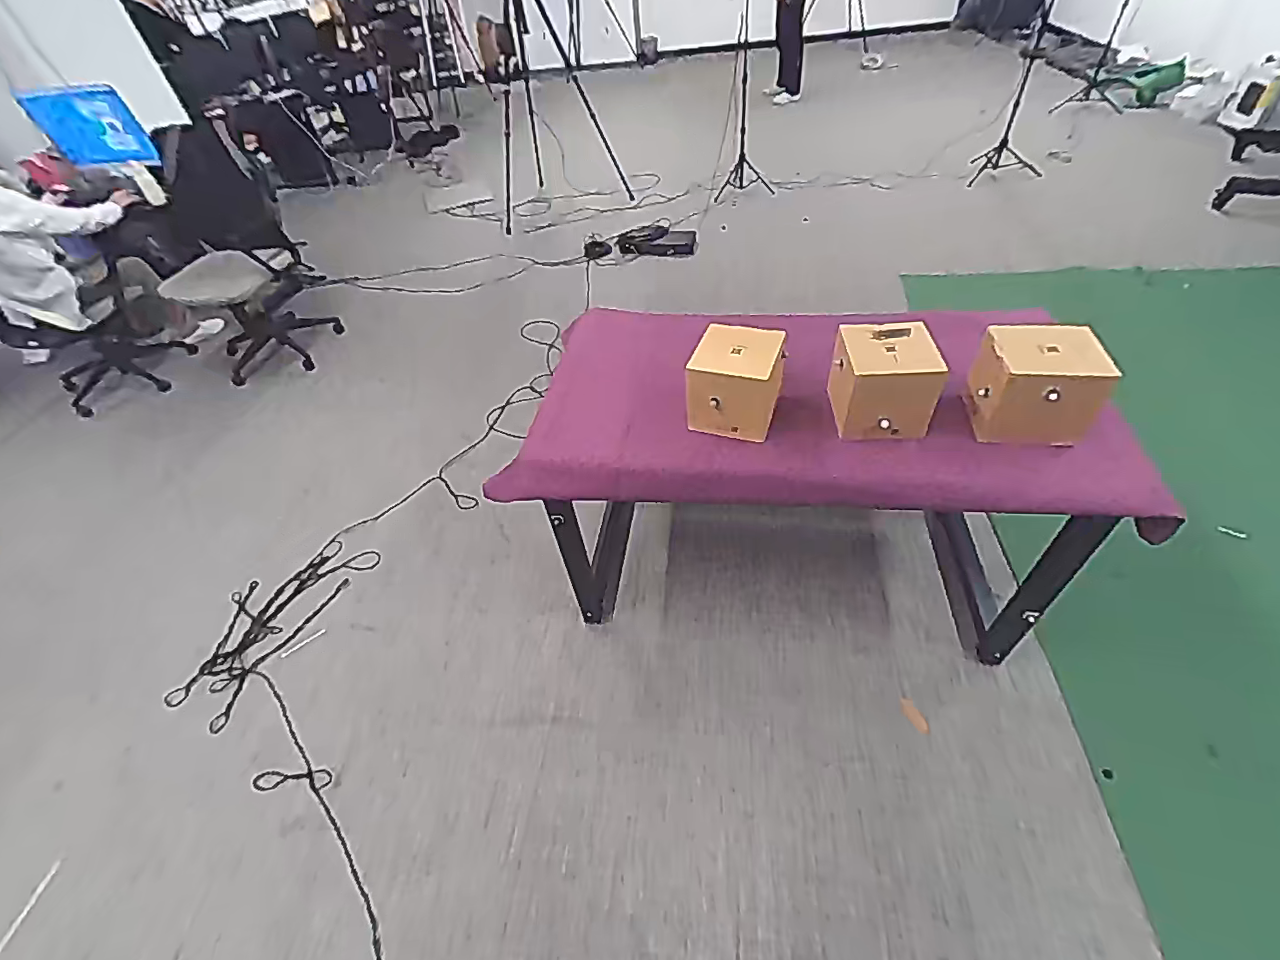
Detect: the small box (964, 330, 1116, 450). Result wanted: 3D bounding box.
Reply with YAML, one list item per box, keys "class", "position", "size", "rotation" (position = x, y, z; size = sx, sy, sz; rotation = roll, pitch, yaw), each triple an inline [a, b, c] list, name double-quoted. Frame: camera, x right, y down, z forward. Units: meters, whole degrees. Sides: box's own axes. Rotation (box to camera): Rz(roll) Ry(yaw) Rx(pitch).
- class: "small box"
  position: [0.752, -0.173, 1.047]
  size: [0.179, 0.176, 0.168]
  rotation: [5, 46, 12]

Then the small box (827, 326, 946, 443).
- class: "small box"
  position: [0.488, -0.195, 1.102]
  size: [0.168, 0.176, 0.179]
  rotation: [0, 47, 7]

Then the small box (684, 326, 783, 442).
- class: "small box"
  position: [0.200, -0.203, 1.148]
  size: [0.168, 0.176, 0.179]
  rotation: [12, 48, 19]
